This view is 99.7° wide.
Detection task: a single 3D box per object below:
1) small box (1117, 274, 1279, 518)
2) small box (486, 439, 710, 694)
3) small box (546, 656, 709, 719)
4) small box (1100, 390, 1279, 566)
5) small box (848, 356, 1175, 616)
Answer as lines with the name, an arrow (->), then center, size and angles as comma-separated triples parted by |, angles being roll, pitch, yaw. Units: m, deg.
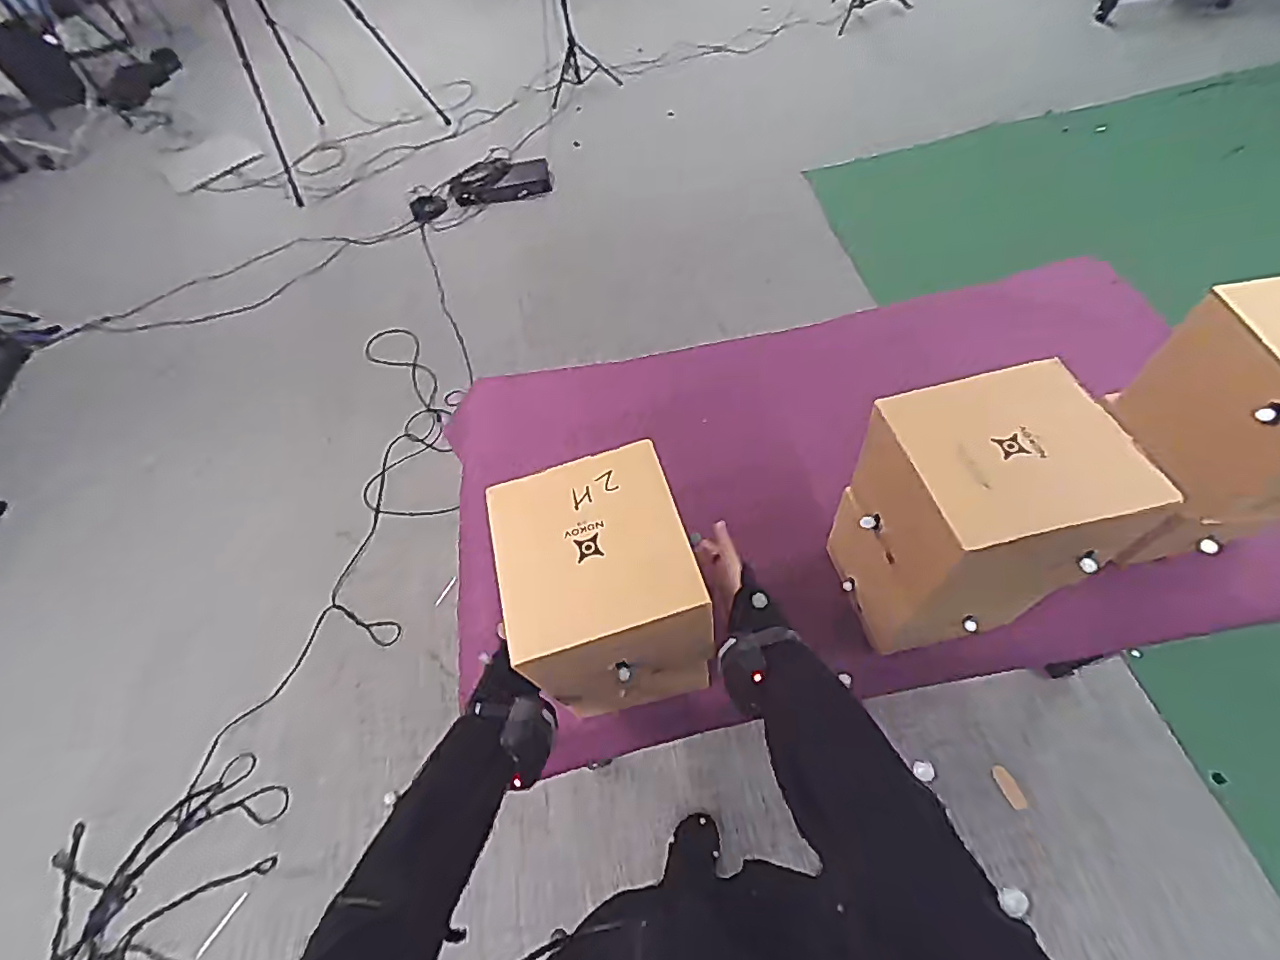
small box -> 0.639, -0.084, 0.534 | 0.168, 0.176, 0.179 | -8, 56, 6
small box -> -0.035, 0.094, 0.531 | 0.168, 0.176, 0.179 | -17, 54, -2
small box -> -0.018, 0.181, 0.672 | 0.179, 0.176, 0.168 | -14, 55, -1
small box -> 0.675, -0.013, 0.679 | 0.179, 0.176, 0.168 | -14, 54, 1
small box -> 0.326, 0.013, 0.525 | 0.179, 0.176, 0.168 | -14, 54, 2
